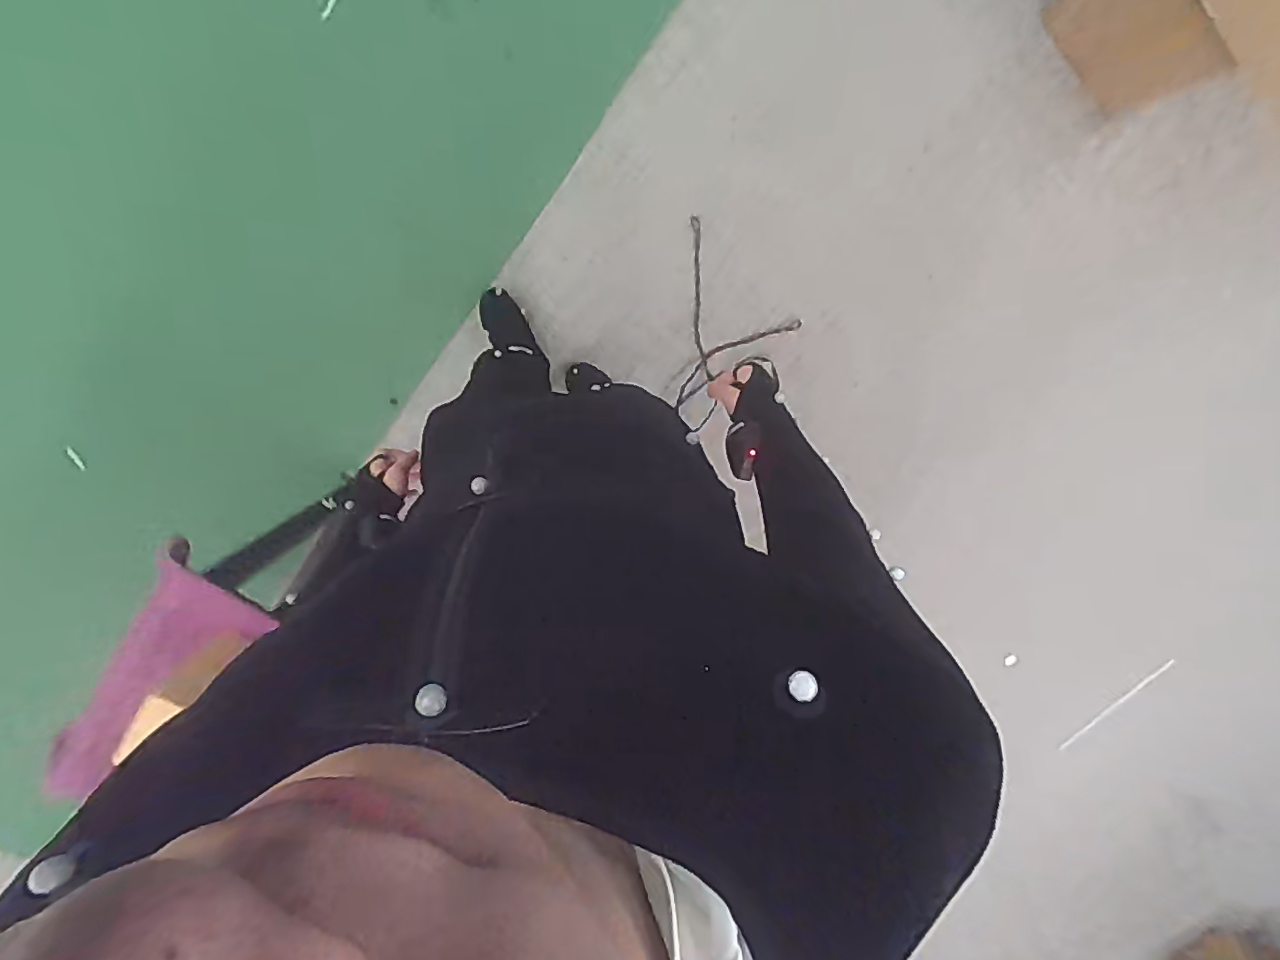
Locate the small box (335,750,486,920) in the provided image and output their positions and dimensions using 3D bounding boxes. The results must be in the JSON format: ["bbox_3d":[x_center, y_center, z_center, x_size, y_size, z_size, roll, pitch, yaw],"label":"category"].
[{"bbox_3d":[-0.415,0.653,1.008,0.168,0.176,0.179,38,105,-11],"label":"small box"}]

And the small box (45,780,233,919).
[{"bbox_3d":[-0.918,0.651,1.008,0.168,0.176,0.179,37,104,-12],"label":"small box"}]
